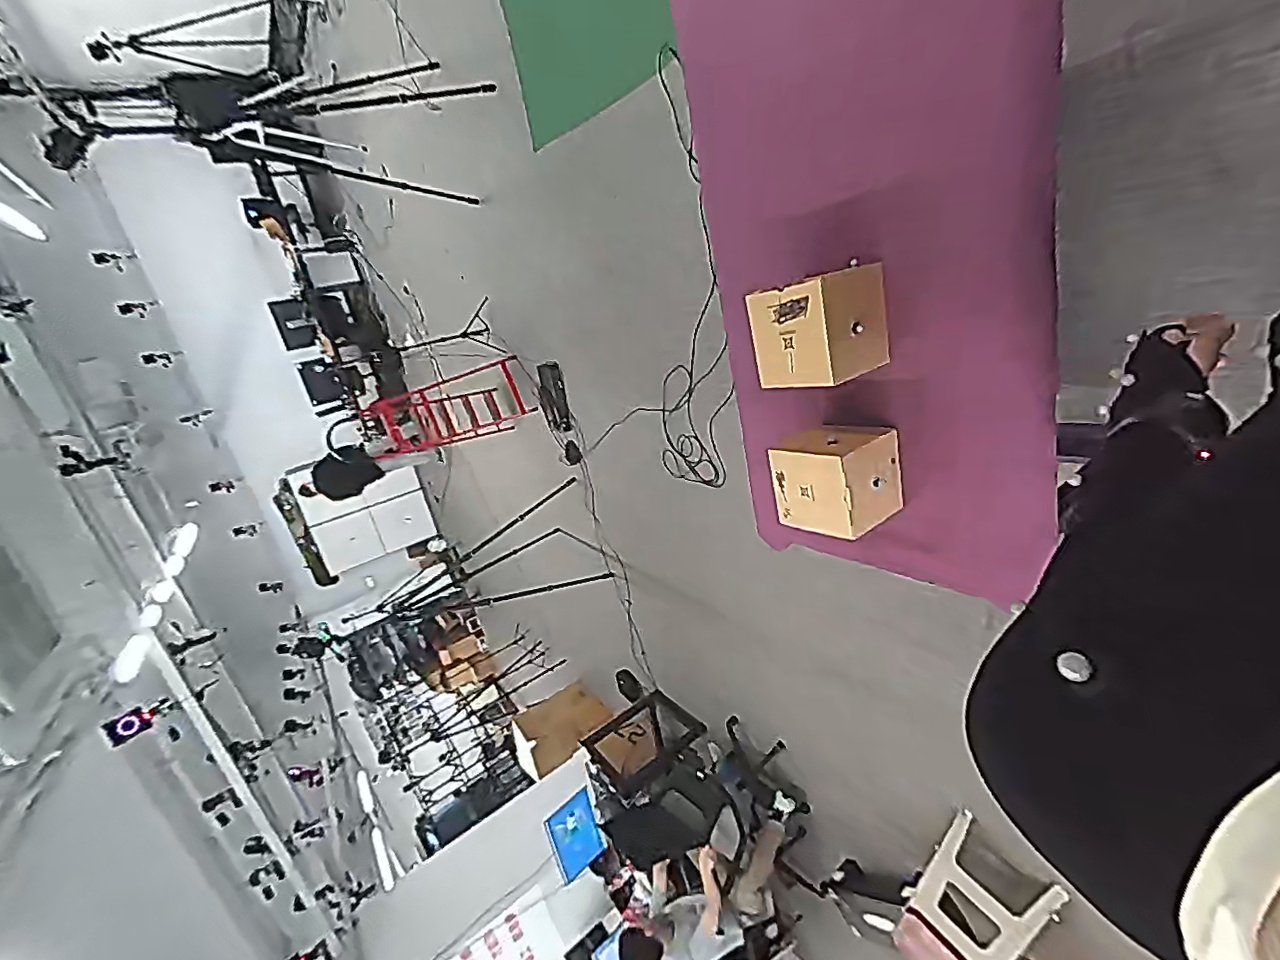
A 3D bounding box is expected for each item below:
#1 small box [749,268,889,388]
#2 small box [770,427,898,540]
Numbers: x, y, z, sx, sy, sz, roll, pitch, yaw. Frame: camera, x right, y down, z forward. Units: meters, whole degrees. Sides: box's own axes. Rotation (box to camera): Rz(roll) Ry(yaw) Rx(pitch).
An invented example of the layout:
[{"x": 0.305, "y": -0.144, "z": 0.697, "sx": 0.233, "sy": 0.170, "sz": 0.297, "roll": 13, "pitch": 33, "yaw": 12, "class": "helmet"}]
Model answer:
[{"x": 0.325, "y": -0.274, "z": 0.977, "sx": 0.168, "sy": 0.176, "sz": 0.179, "roll": 12, "pitch": 122, "yaw": 55, "class": "small box"}, {"x": 0.387, "y": -0.002, "z": 1.066, "sx": 0.179, "sy": 0.176, "sz": 0.168, "roll": 11, "pitch": 119, "yaw": 54, "class": "small box"}]
